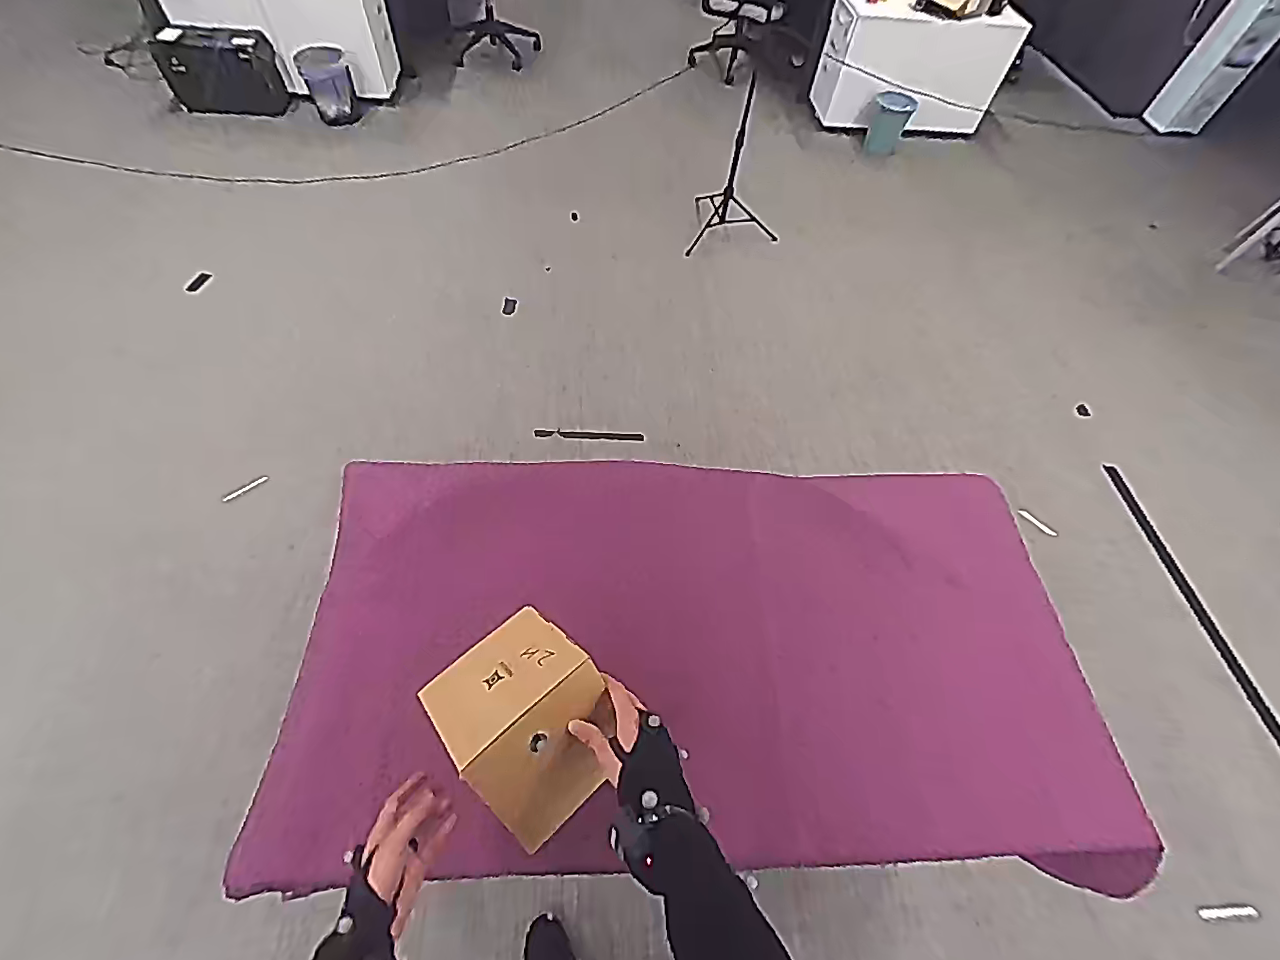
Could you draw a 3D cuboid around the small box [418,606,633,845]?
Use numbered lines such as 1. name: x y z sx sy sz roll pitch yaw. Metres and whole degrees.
1. small box: -0.138 0.299 0.675 0.179 0.176 0.168 -36 29 -24
